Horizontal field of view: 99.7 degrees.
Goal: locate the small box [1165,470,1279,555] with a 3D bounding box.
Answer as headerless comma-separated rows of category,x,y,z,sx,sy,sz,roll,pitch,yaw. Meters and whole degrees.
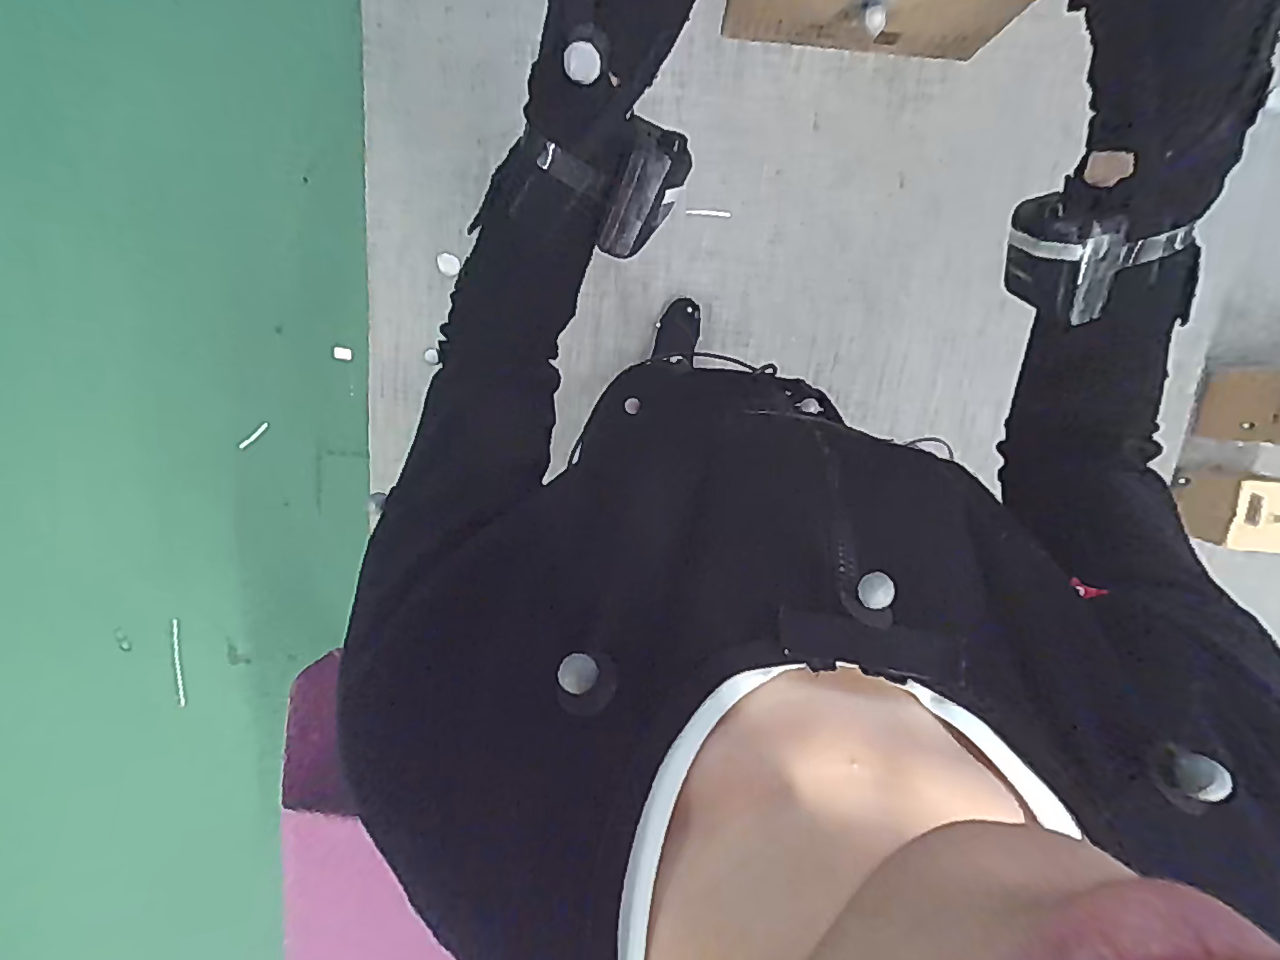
small box,1.444,0.073,1.306,0.179,0.176,0.168,5,102,3

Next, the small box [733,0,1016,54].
small box,0.142,-0.353,0.257,0.168,0.176,0.179,7,105,1

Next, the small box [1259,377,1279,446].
small box,1.454,-0.135,1.098,0.179,0.176,0.168,6,102,2
